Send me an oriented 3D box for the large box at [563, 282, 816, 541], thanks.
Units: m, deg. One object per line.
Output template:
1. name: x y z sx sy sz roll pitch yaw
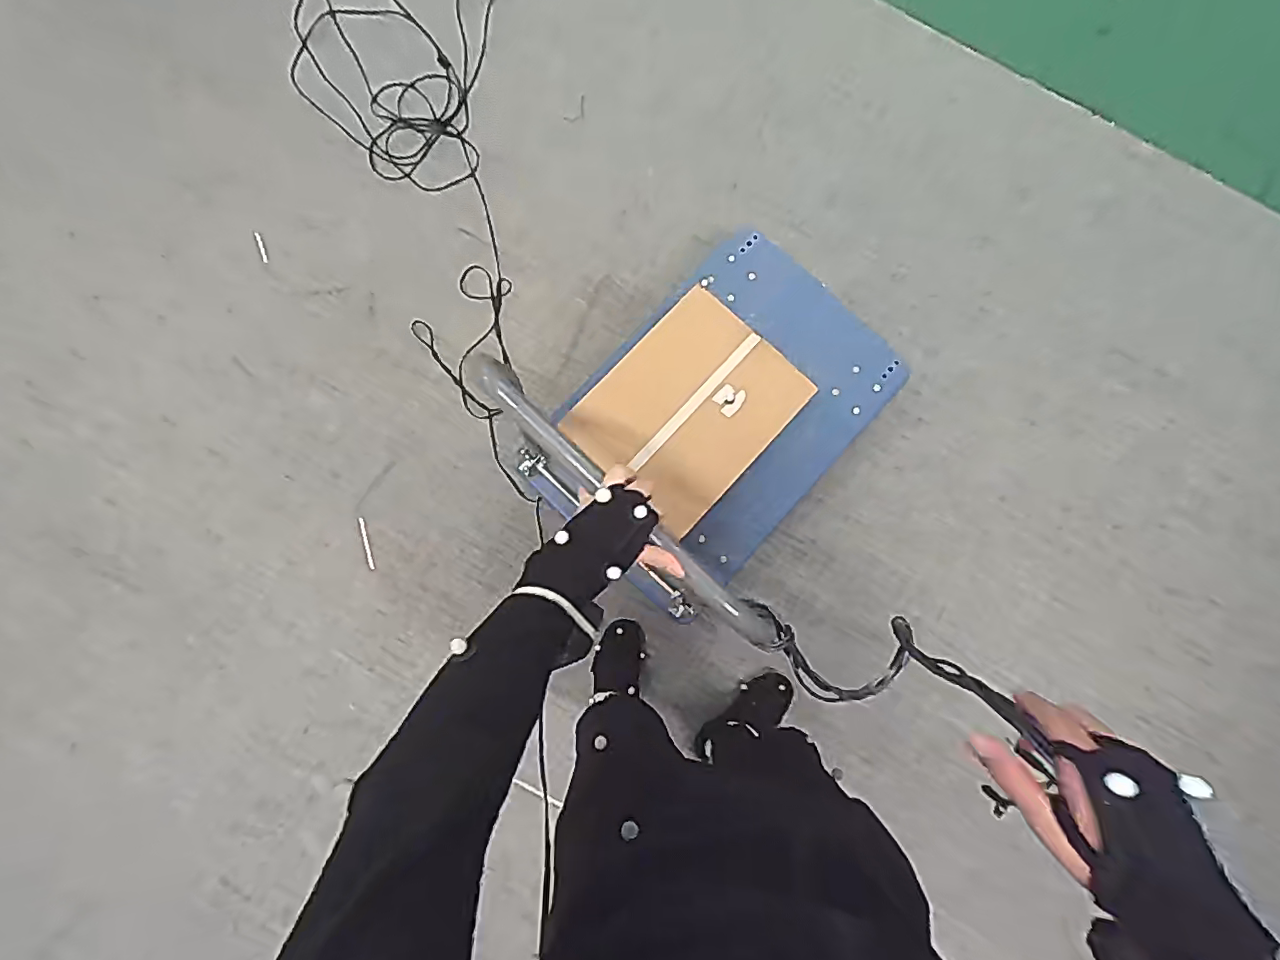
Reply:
1. large box: 0.090 -0.120 1.163 0.320 0.320 0.408 43 82 3
